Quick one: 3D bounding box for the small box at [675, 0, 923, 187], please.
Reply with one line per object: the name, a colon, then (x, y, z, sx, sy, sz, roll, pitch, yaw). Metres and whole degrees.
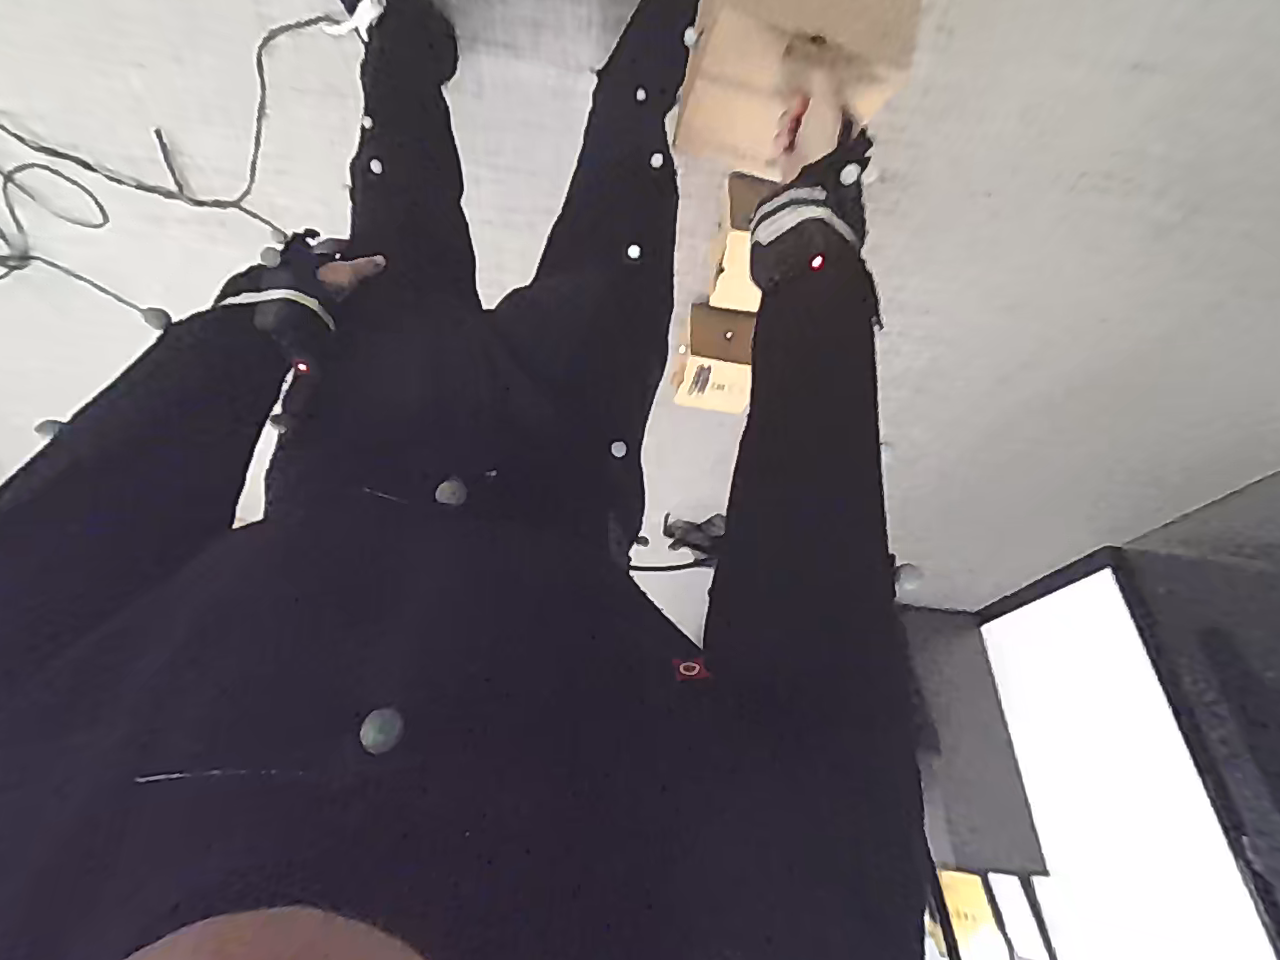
small box: (0.138, -0.410, 0.496, 0.168, 0.179, 0.176, 14, 176, -8)

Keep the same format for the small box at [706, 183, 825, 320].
small box: (0.227, -0.432, 1.021, 0.179, 0.176, 0.168, 7, 148, -3)
